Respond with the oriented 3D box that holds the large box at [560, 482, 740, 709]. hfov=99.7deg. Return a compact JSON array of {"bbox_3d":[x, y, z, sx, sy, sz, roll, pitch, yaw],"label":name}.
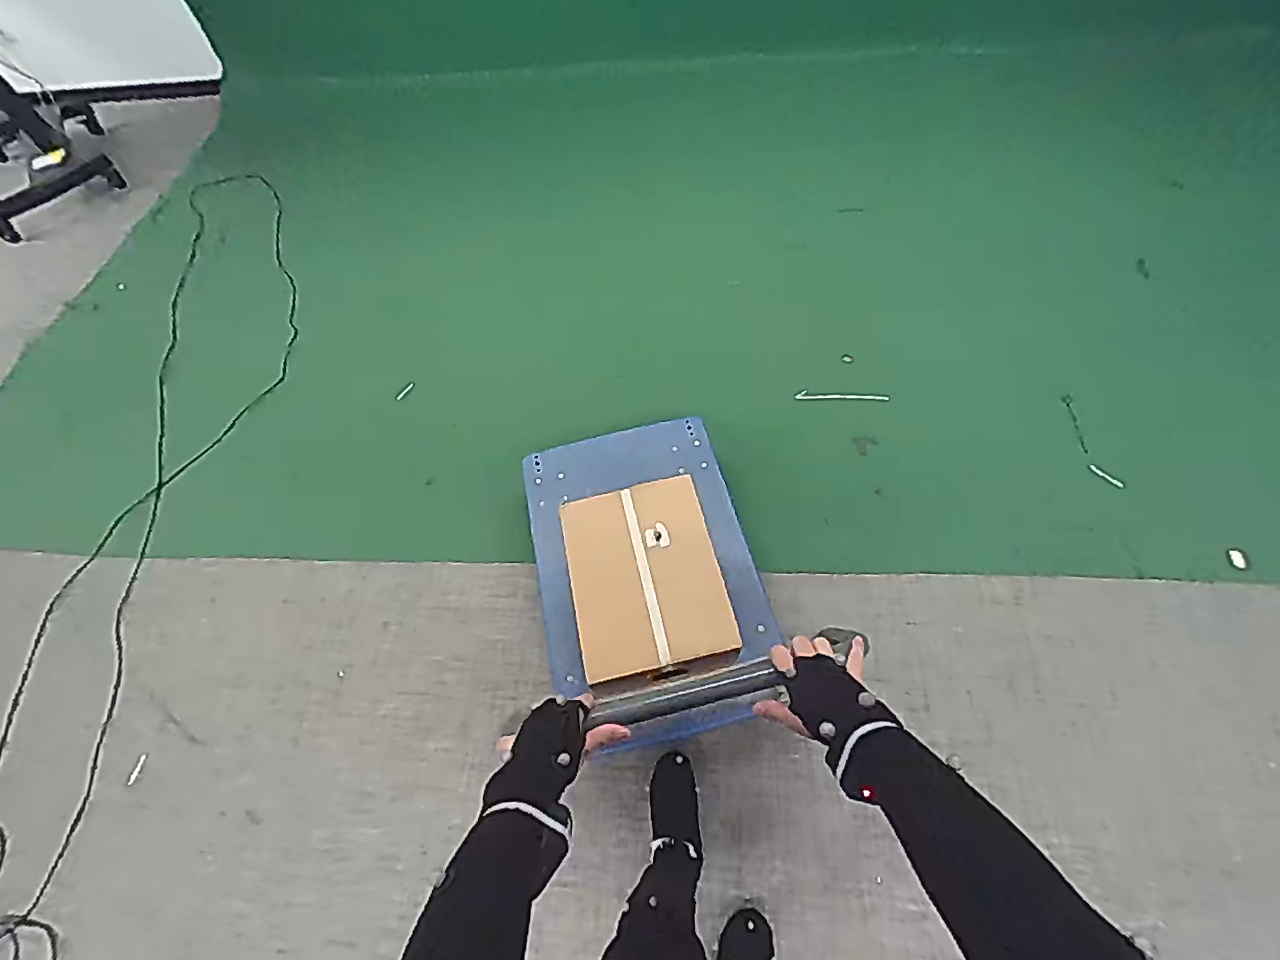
[{"bbox_3d":[0.022,0.280,1.286,0.320,0.320,0.408,-13,58,-3],"label":"large box"}]
